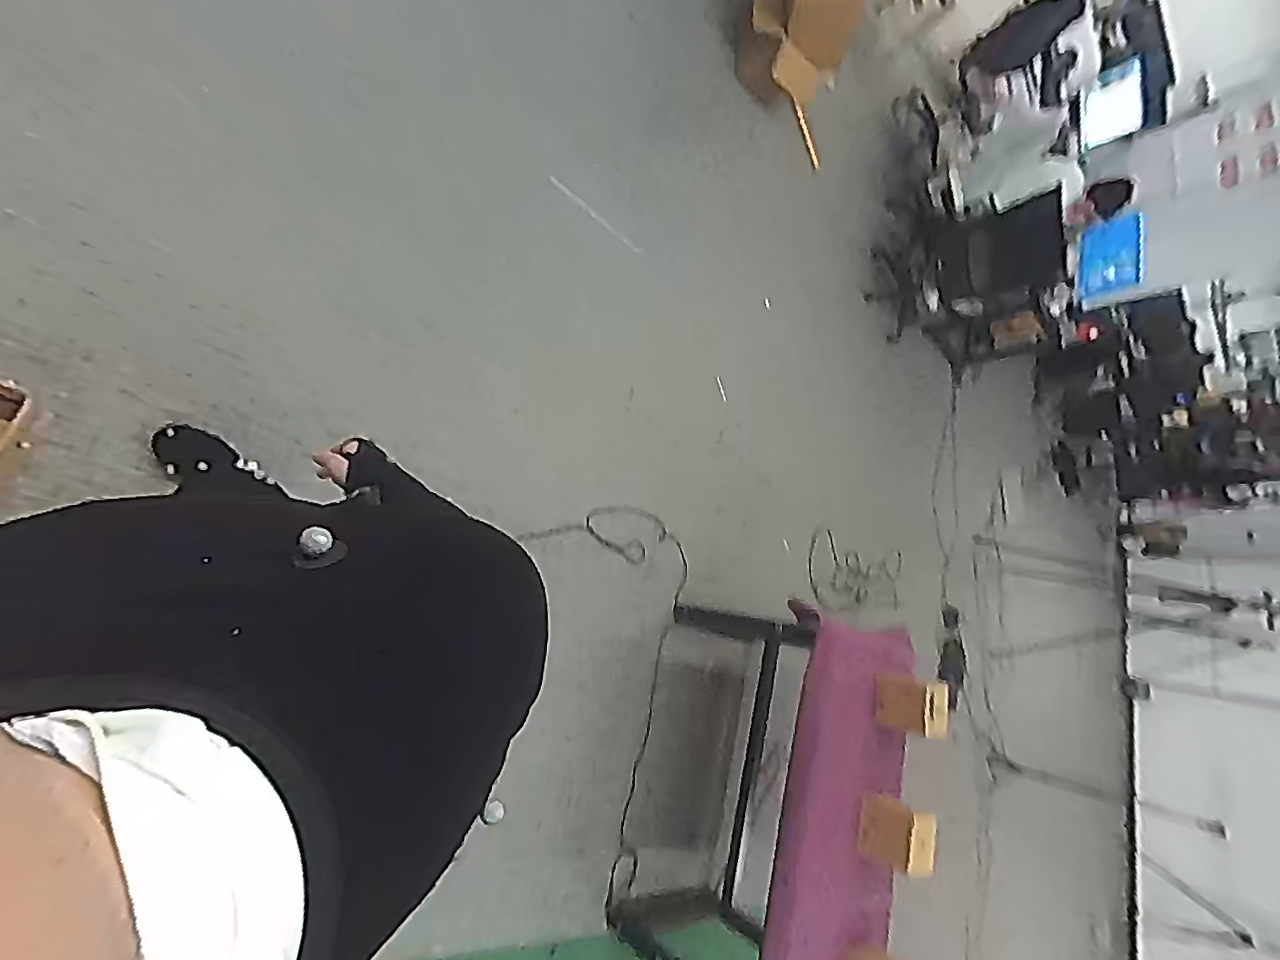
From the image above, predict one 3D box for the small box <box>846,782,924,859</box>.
[{"bbox_3d":[0.807,1.113,1.779,0.179,0.176,0.168,25,71,-36],"label":"small box"}]
